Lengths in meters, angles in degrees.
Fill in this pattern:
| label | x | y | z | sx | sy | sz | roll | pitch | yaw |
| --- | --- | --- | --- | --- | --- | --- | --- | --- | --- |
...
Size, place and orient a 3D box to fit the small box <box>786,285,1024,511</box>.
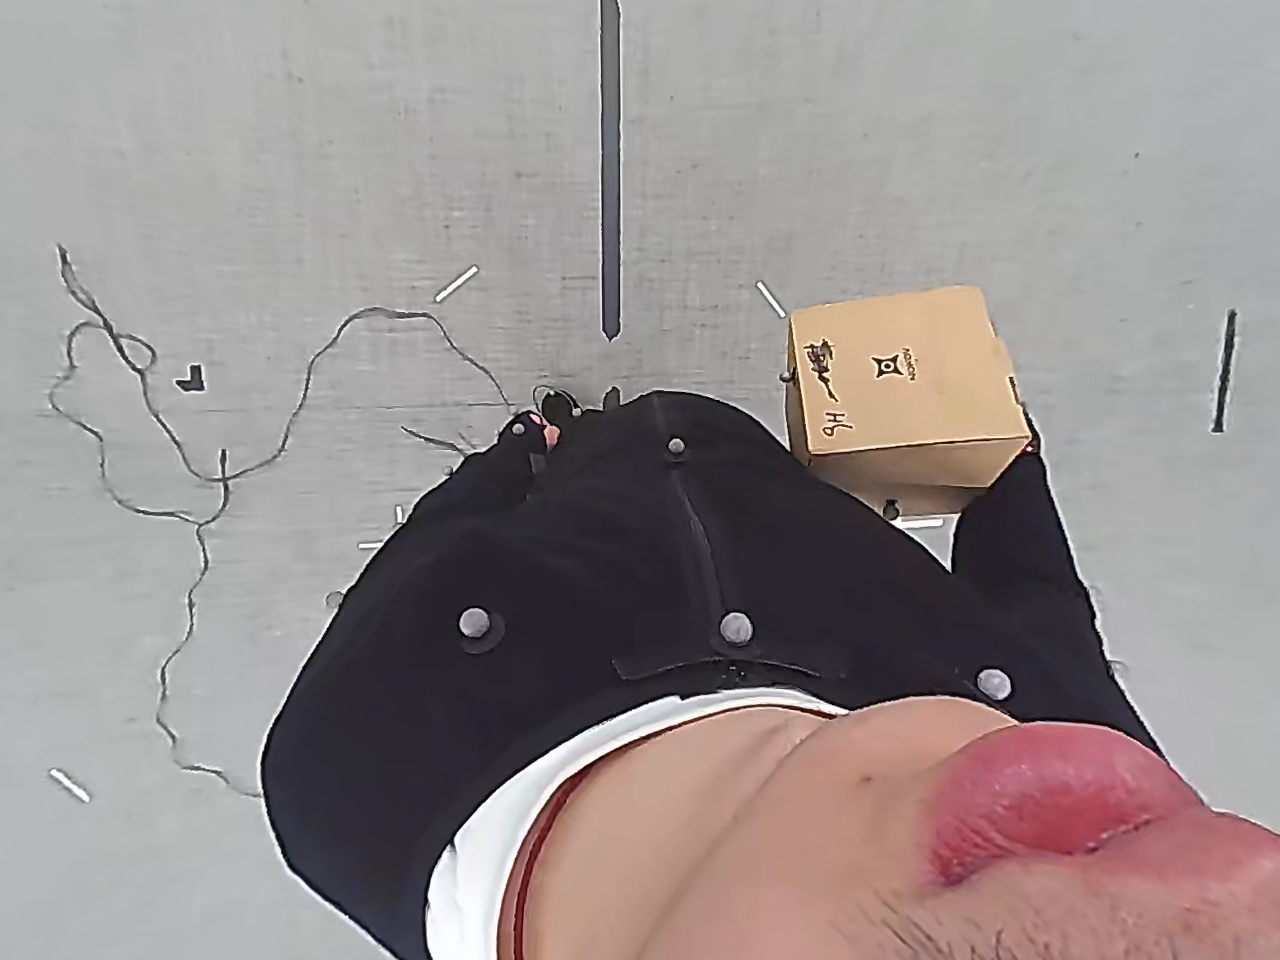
| label | x | y | z | sx | sy | sz | roll | pitch | yaw |
| --- | --- | --- | --- | --- | --- | --- | --- | --- | --- |
| small box | 0.255 | -0.074 | 0.571 | 0.179 | 0.176 | 0.168 | -4 | 64 | 11 |
